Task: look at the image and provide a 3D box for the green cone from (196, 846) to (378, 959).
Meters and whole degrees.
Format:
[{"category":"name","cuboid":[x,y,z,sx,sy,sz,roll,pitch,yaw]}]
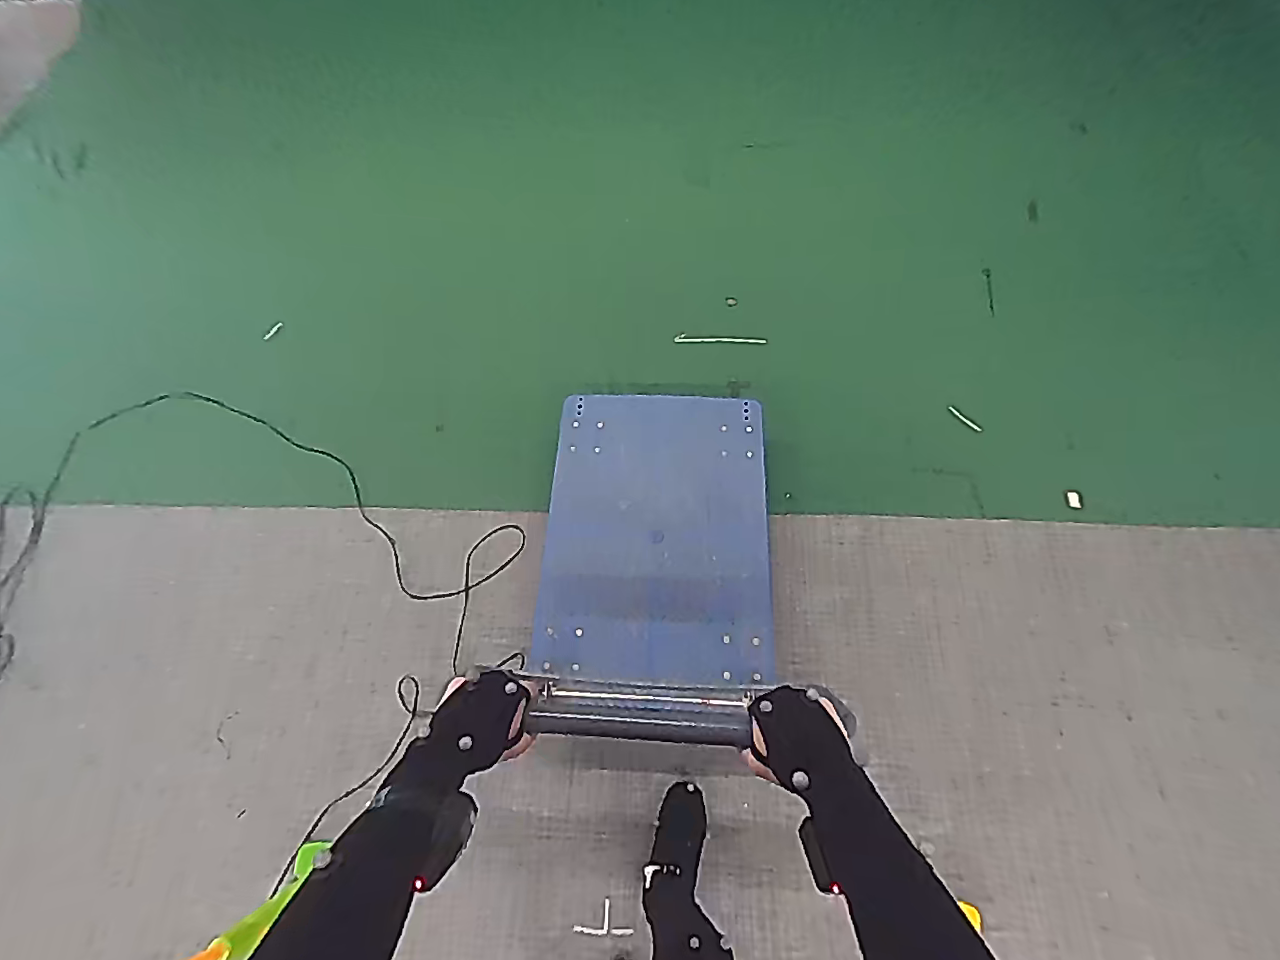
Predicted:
[{"category":"green cone","cuboid":[-0.717,0.881,1.077,0.202,0.368,0.200,-4,64,3]}]
